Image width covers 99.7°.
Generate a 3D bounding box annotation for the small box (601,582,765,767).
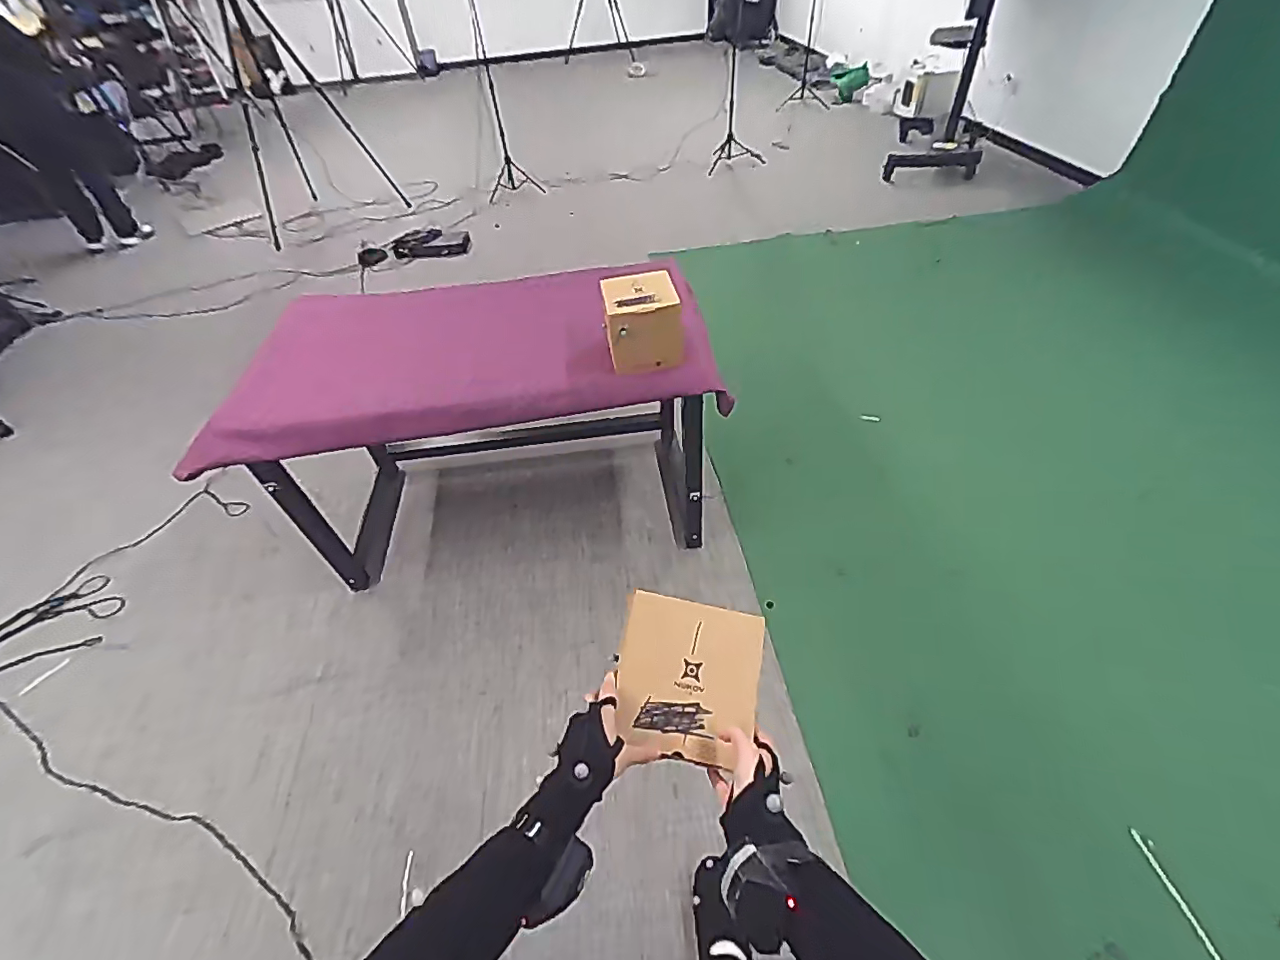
[{"bbox_3d":[0.048,0.249,0.697,0.168,0.176,0.179,13,67,-1],"label":"small box"}]
